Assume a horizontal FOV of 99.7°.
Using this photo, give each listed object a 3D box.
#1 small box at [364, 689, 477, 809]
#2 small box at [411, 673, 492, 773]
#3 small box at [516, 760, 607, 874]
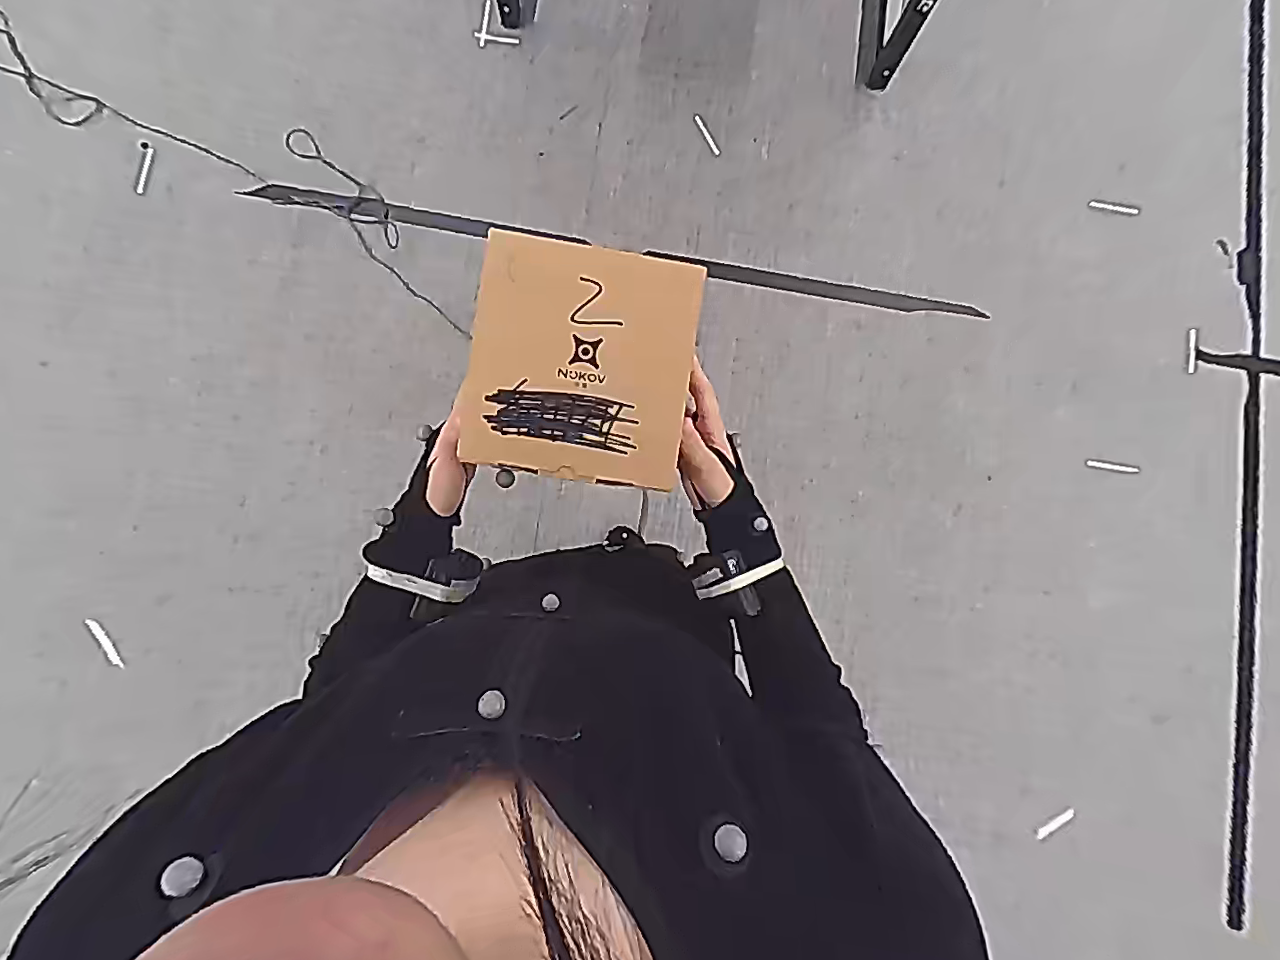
[{"bbox_3d":[-0.473,0.584,1.196,0.168,0.176,0.179,11,83,-1],"label":"small box"},{"bbox_3d":[-0.479,0.602,1.358,0.168,0.176,0.179,8,83,-2],"label":"small box"},{"bbox_3d":[-0.189,0.827,1.346,0.179,0.176,0.168,17,84,-2],"label":"small box"}]
